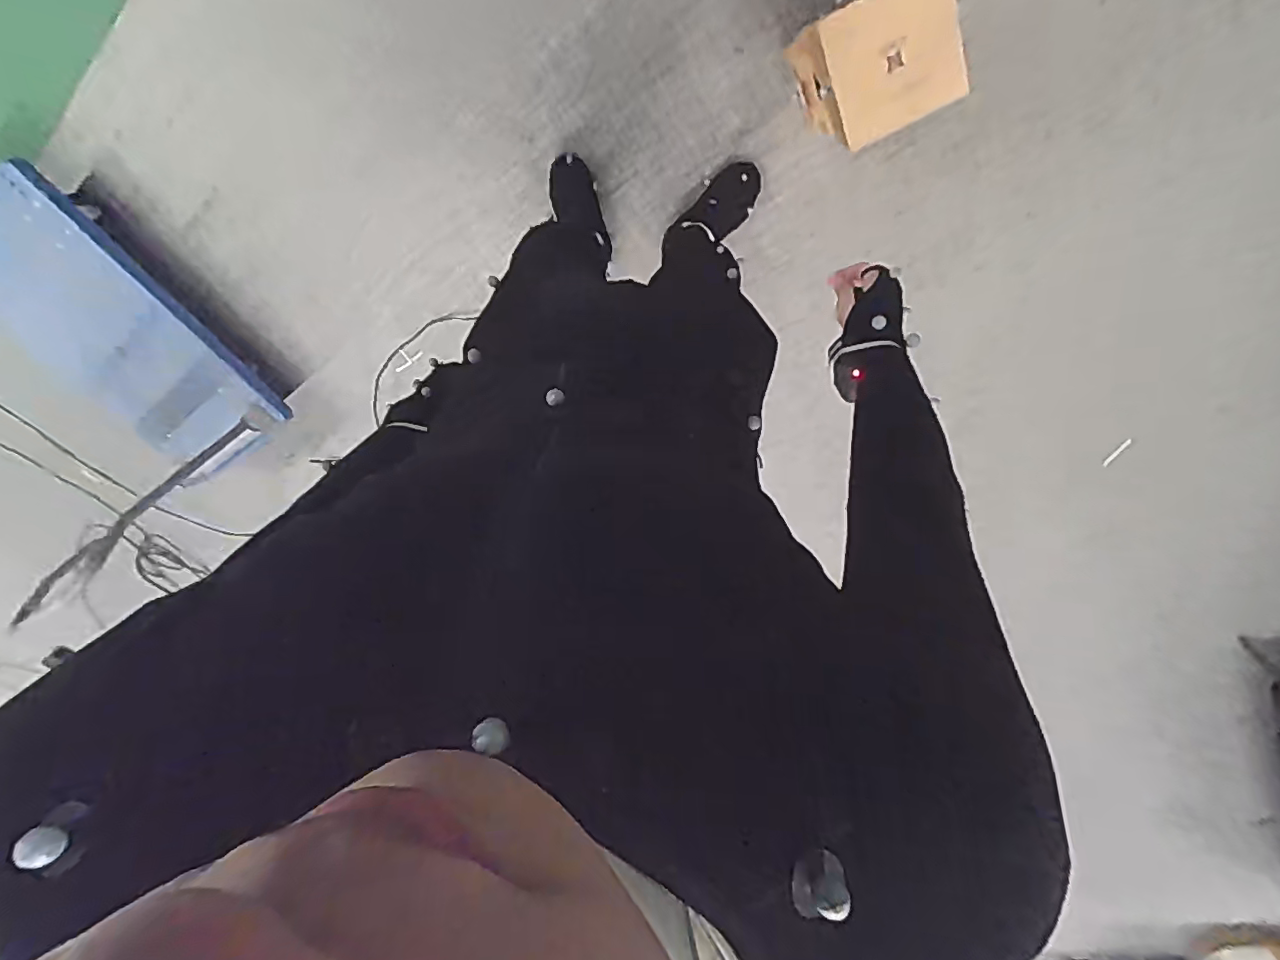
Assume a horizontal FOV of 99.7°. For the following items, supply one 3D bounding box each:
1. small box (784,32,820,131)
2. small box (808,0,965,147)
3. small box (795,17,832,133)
[{"bbox_3d":[0.397,-0.830,1.074,0.179,0.176,0.168,-21,120,24],"label":"small box"},{"bbox_3d":[0.361,-0.636,0.812,0.168,0.176,0.179,-17,121,22],"label":"small box"},{"bbox_3d":[0.382,-0.737,0.939,0.179,0.176,0.168,-17,121,21],"label":"small box"}]
